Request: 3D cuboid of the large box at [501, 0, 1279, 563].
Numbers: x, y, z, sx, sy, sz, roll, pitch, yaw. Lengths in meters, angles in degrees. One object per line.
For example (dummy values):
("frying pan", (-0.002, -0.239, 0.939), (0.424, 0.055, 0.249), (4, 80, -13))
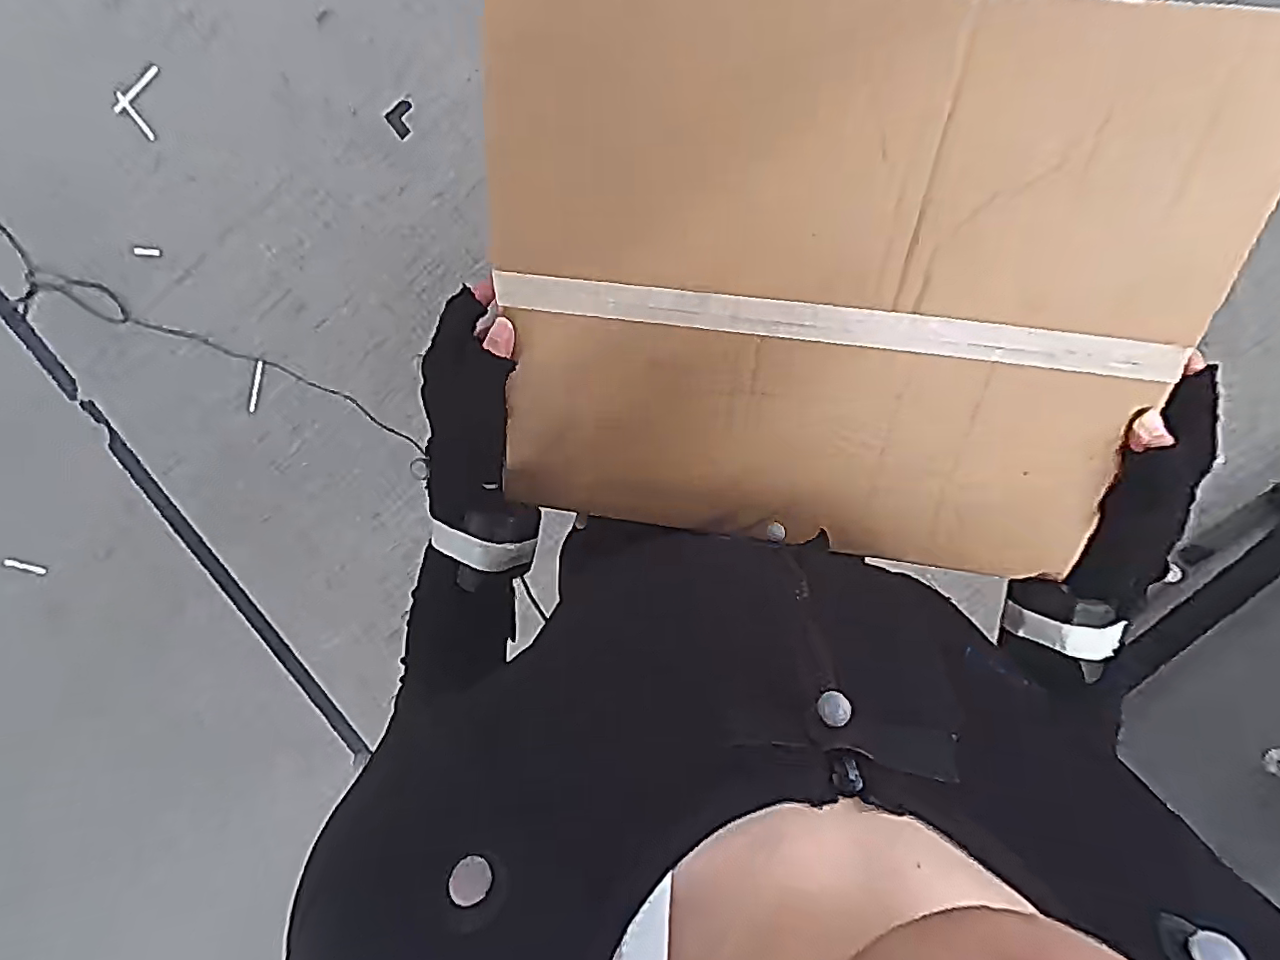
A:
("large box", (0.126, -0.163, 0.472), (0.408, 0.320, 0.320), (8, 118, 4))
